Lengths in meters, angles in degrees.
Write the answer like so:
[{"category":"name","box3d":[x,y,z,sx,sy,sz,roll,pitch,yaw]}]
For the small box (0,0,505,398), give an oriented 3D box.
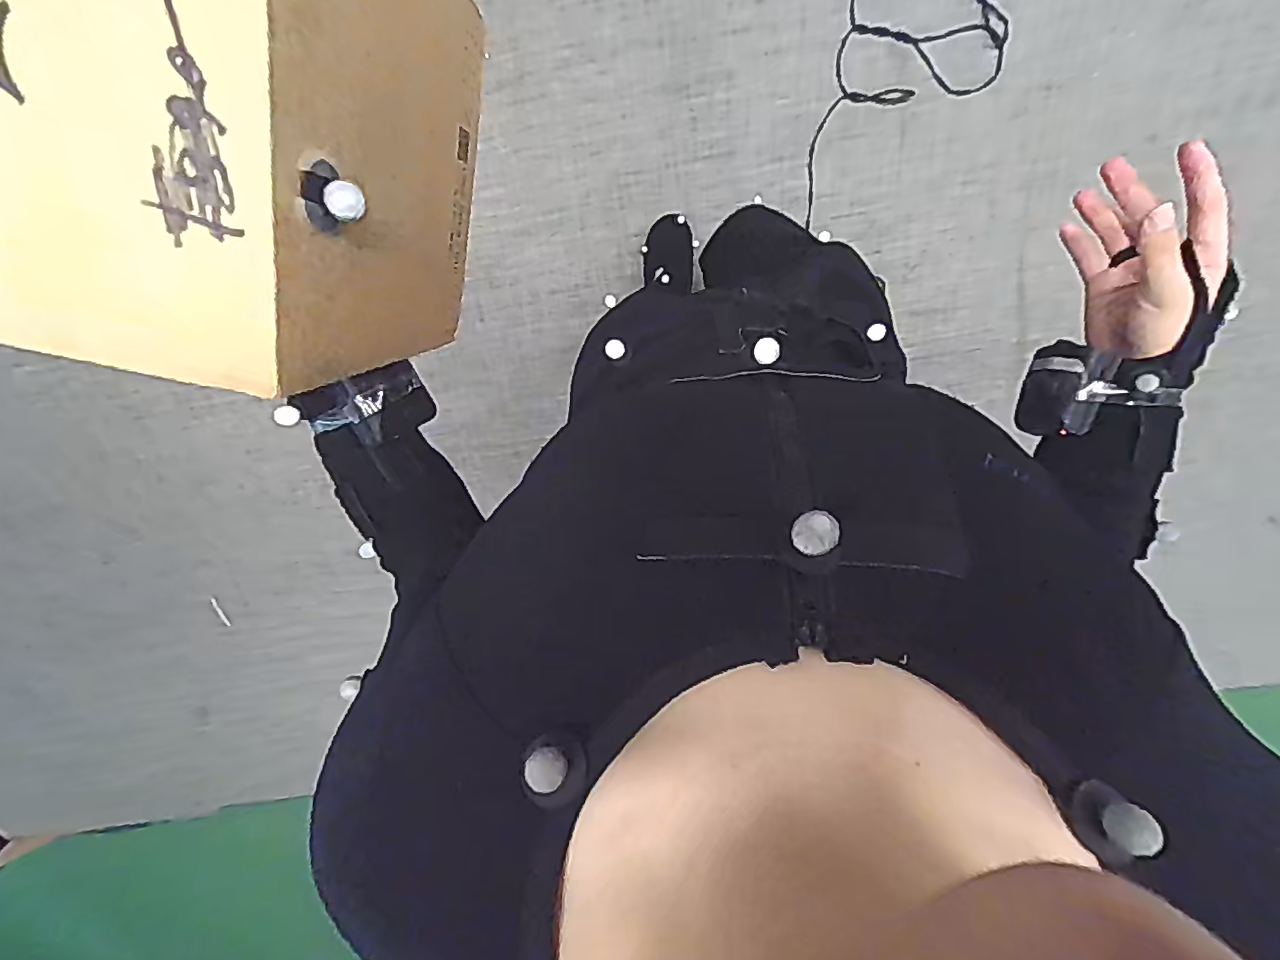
[{"category":"small box","box3d":[-0.174,-0.148,0.230,0.179,0.176,0.168,12,112,-2]}]
